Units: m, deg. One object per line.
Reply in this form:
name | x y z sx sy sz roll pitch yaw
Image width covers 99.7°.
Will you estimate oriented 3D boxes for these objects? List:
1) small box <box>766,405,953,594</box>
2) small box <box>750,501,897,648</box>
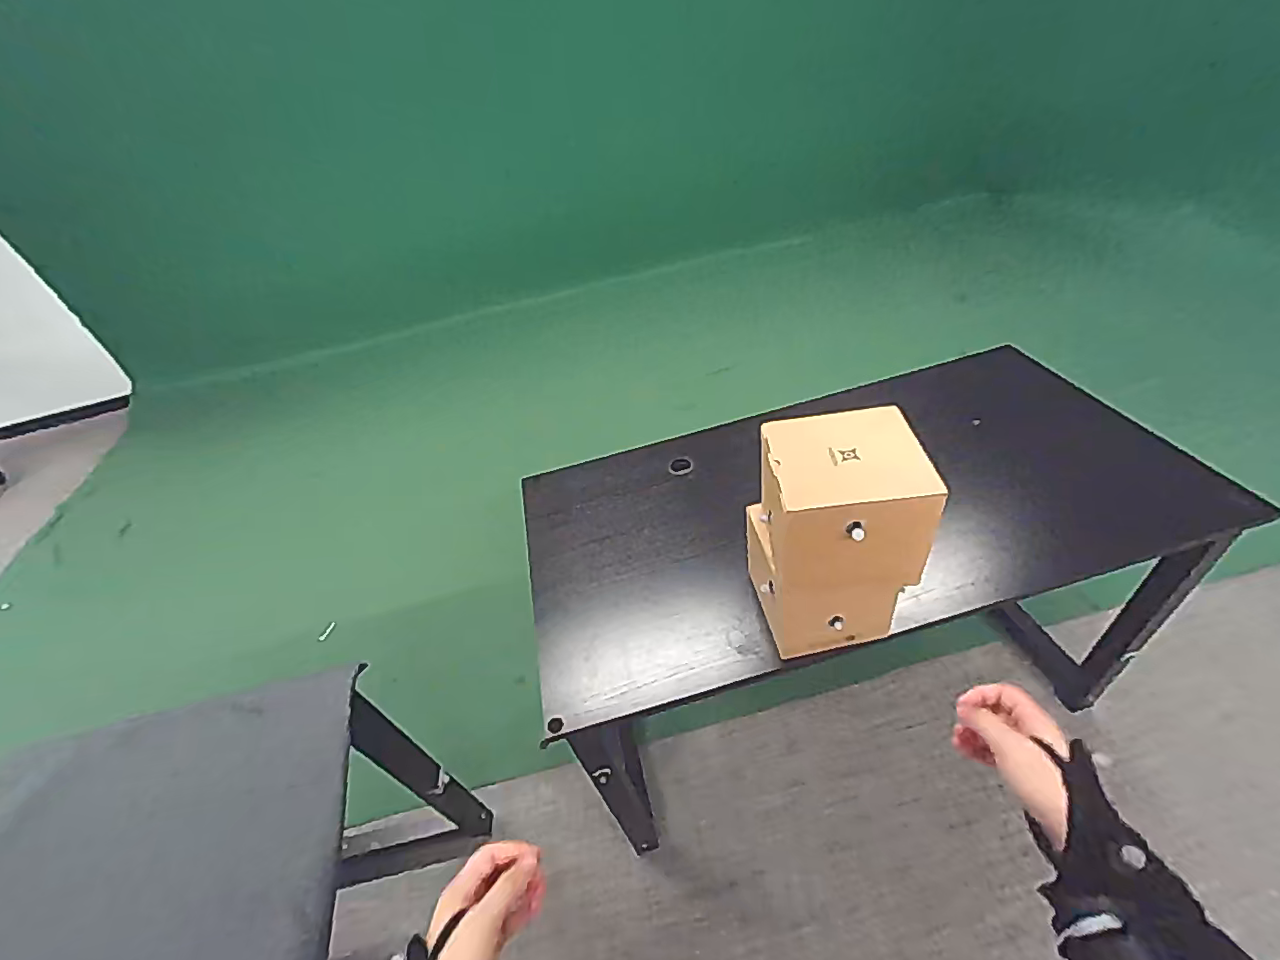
small box | 0.263 0.028 0.697 0.179 0.176 0.168 -8 42 6
small box | 0.273 0.135 0.821 0.168 0.176 0.179 -12 42 0
